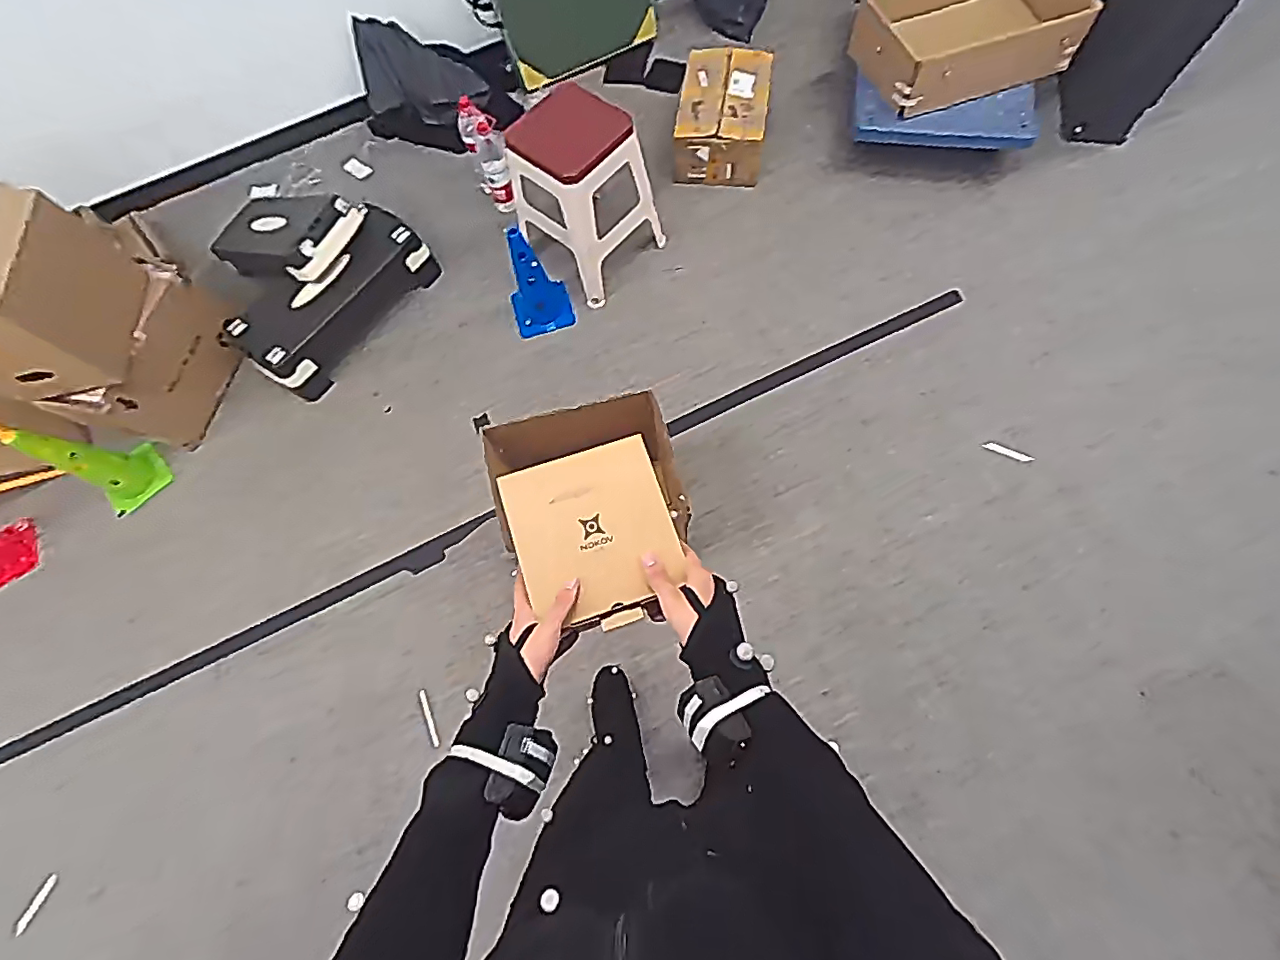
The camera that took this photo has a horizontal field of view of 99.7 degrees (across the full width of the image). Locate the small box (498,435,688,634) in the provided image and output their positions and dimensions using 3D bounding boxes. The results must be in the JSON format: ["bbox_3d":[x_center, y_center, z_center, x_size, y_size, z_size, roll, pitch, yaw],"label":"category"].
[{"bbox_3d":[-0.052,0.072,0.639,0.168,0.176,0.179,-16,74,-7],"label":"small box"}]
